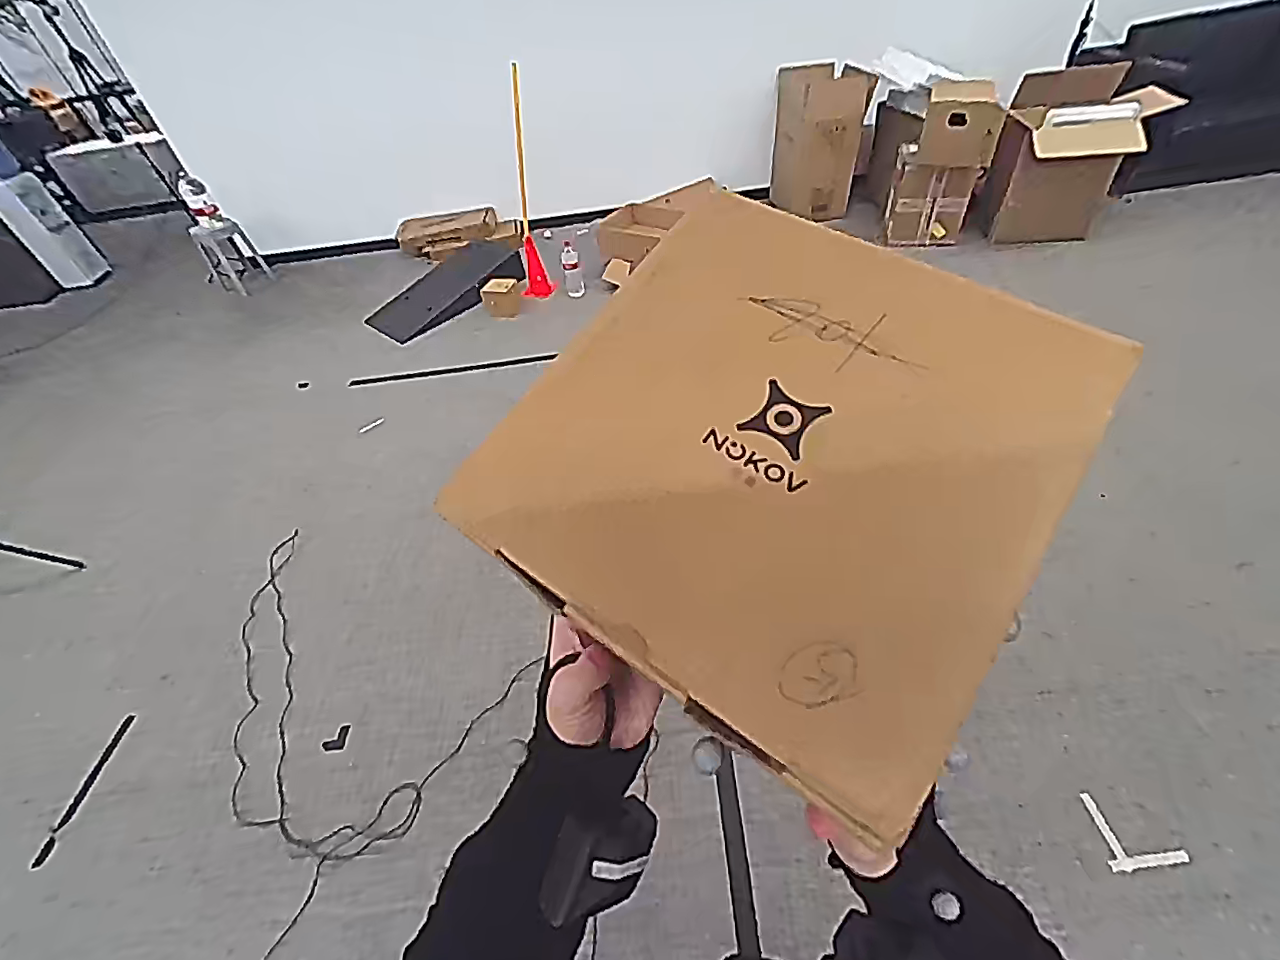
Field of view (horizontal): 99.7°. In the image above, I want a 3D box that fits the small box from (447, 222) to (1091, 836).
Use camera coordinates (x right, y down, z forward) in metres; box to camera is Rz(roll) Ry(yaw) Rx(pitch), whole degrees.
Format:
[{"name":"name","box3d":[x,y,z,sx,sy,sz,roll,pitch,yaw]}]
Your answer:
[{"name":"small box","box3d":[0.052,0.023,0.263,0.168,0.176,0.179,32,73,19]}]
